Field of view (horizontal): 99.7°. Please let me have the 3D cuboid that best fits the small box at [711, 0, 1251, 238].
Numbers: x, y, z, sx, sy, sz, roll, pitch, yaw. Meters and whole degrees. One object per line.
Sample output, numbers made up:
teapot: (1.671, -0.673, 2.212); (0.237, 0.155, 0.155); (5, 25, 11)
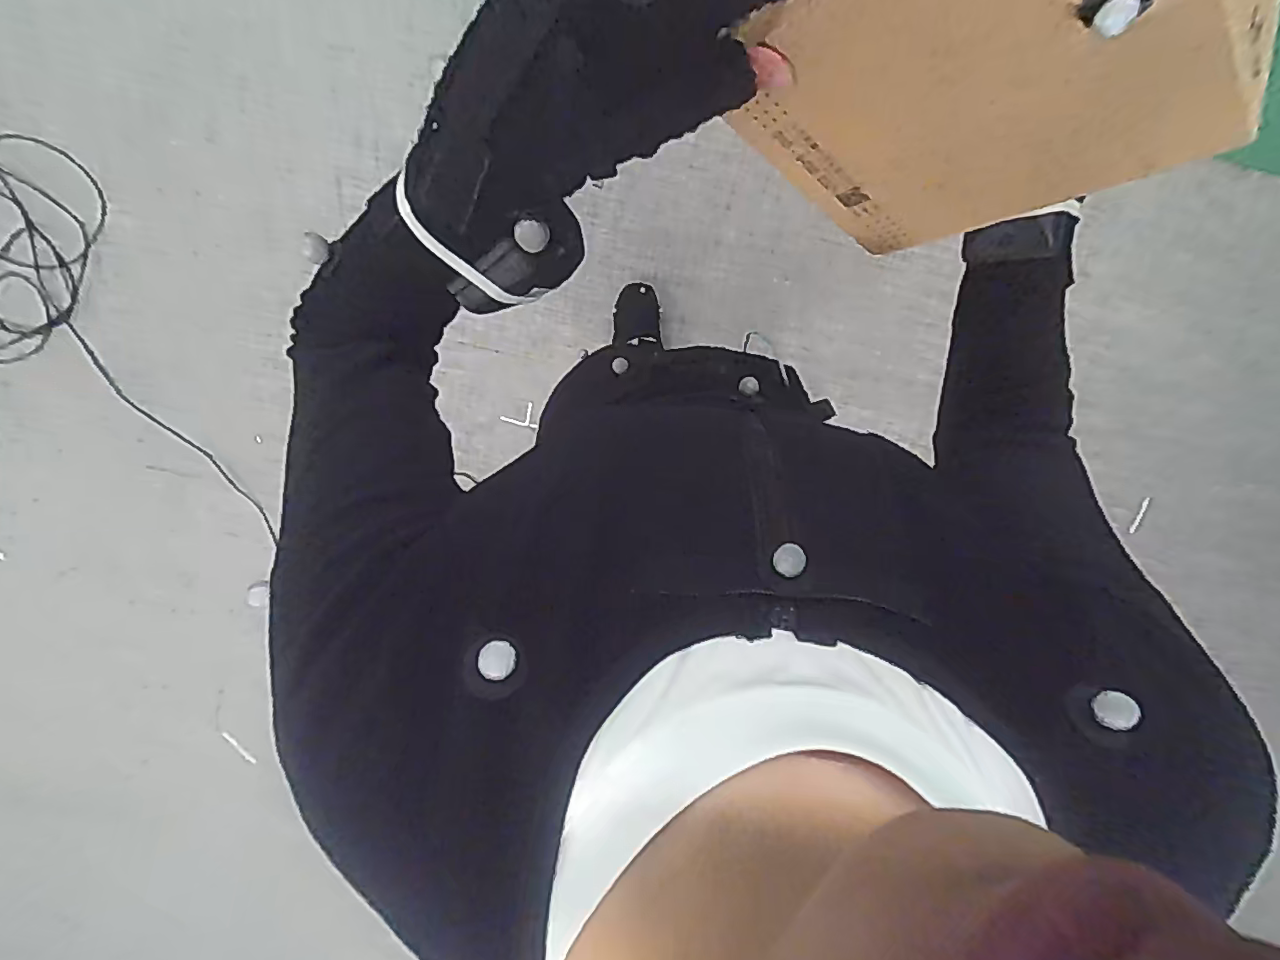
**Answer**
small box: (0.157, -0.254, 0.257); (0.168, 0.176, 0.179); (18, 83, -34)
